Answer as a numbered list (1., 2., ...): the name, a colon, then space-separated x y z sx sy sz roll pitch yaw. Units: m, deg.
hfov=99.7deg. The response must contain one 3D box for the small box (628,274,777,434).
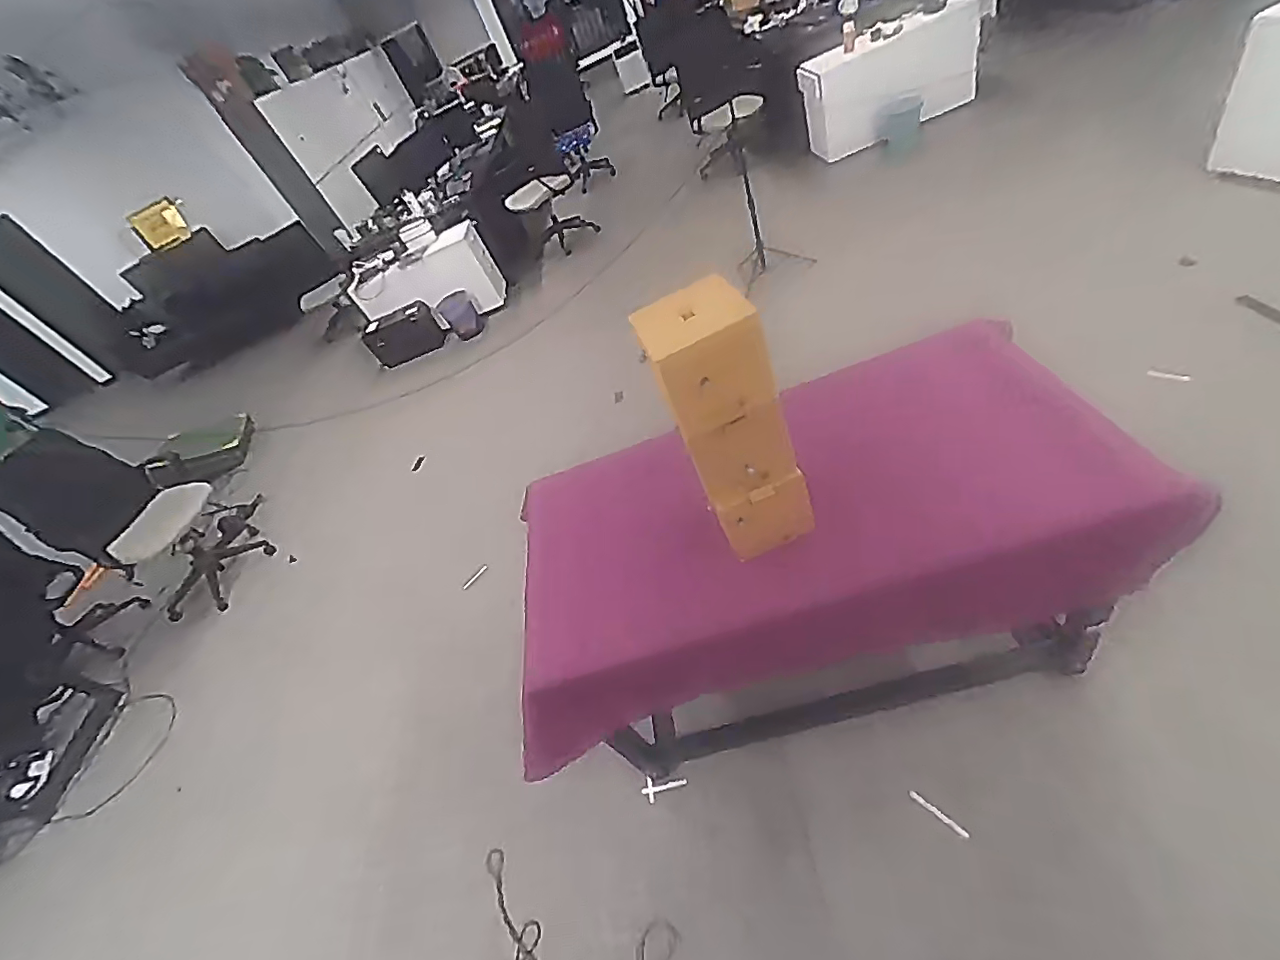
1. small box: 0.103 -0.197 0.880 0.168 0.176 0.179 -26 40 3

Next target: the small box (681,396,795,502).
1. small box: 0.164 -0.093 0.989 0.168 0.176 0.179 -24 41 6
